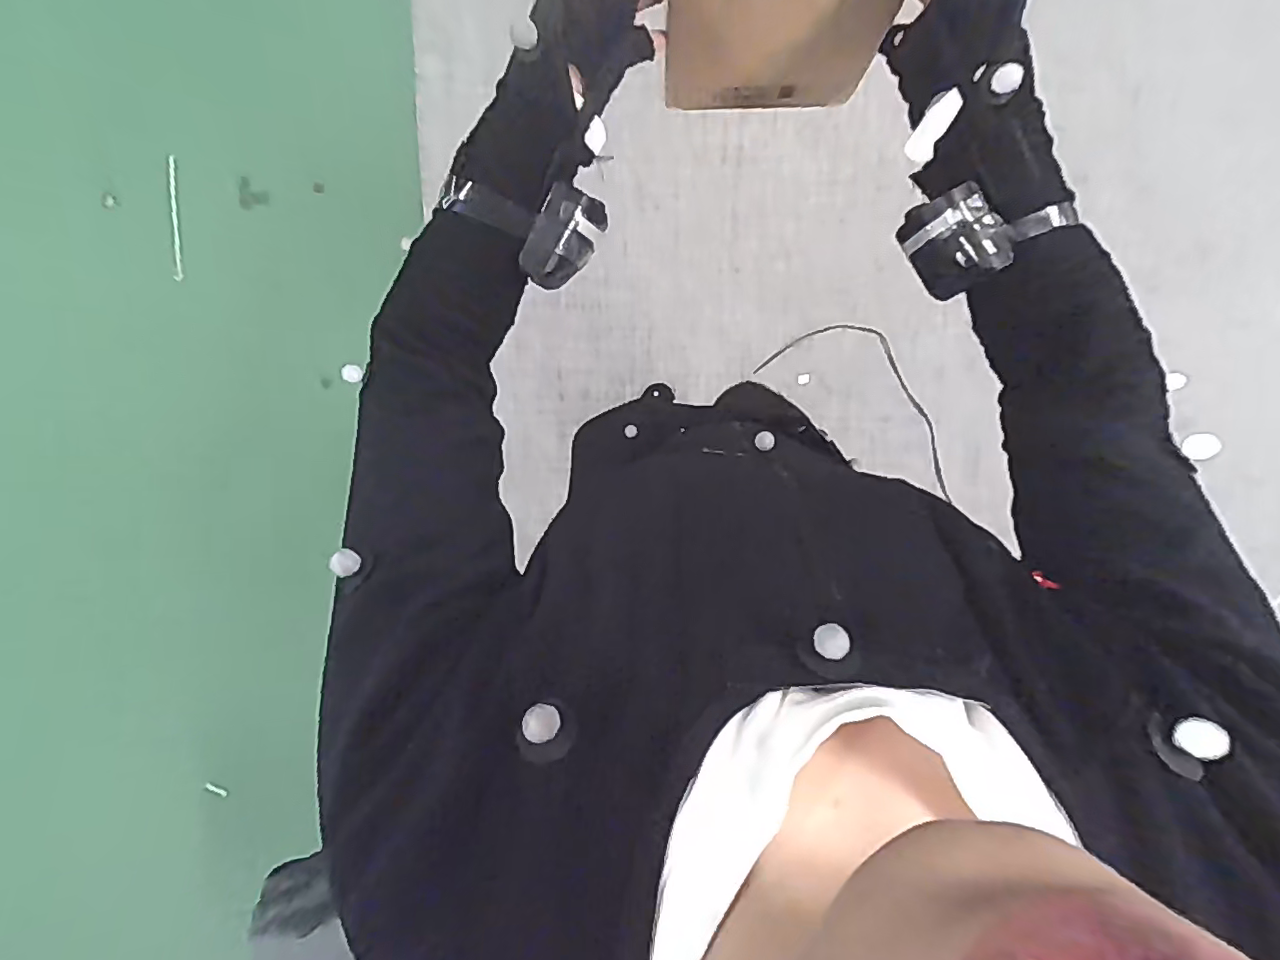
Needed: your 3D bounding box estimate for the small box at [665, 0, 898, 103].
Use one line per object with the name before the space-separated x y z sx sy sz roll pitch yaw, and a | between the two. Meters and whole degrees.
small box | 0.104 -0.426 0.403 0.168 0.176 0.179 -1 89 1
